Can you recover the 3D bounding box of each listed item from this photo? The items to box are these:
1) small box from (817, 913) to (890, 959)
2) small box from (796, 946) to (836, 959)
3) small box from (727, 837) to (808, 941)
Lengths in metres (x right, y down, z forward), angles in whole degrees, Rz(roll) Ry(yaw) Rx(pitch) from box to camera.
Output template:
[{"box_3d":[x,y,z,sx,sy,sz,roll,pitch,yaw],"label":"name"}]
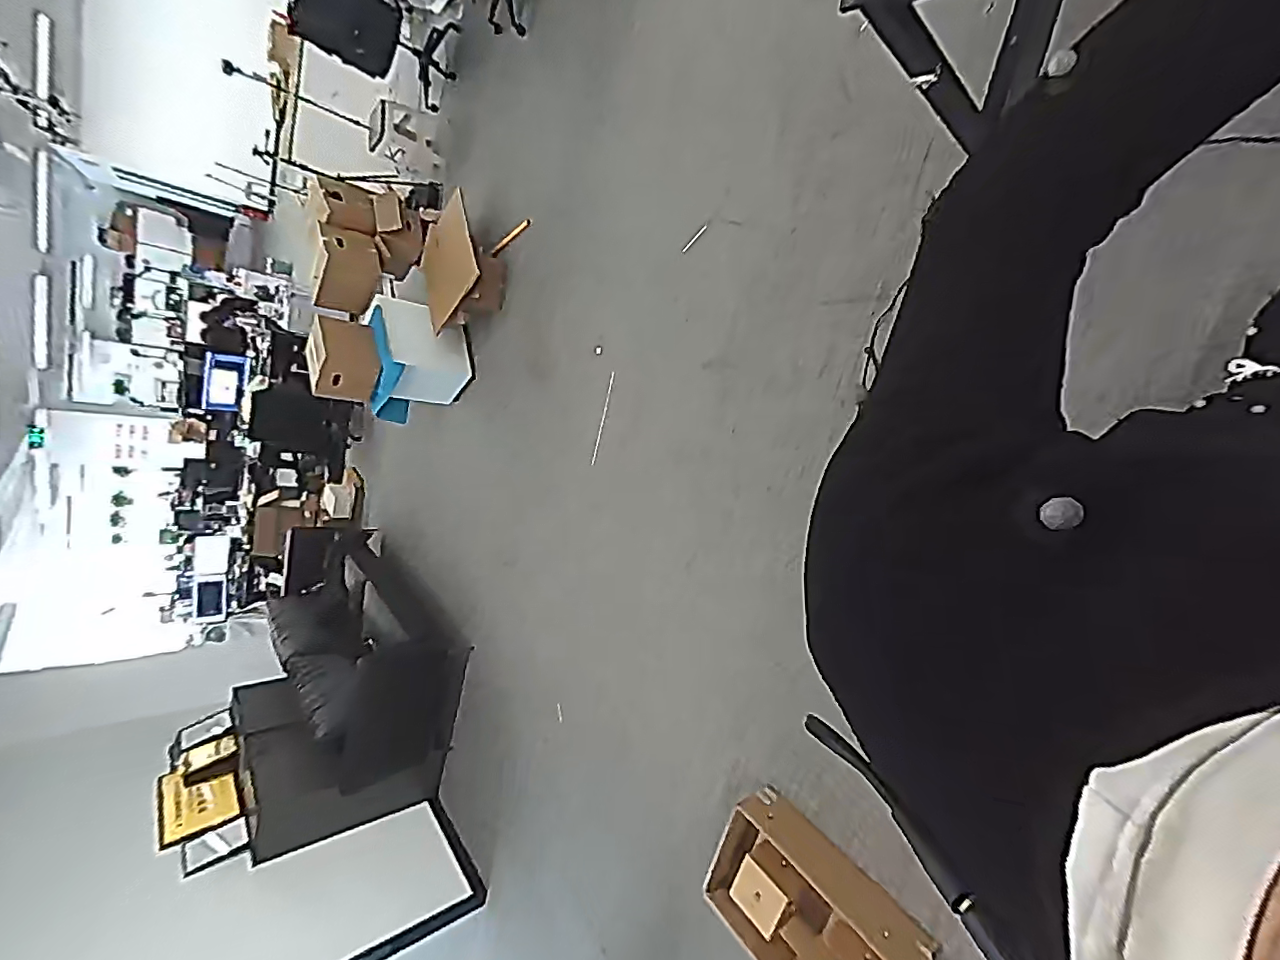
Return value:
[{"box_3d":[0.591,1.399,1.537,0.168,0.176,0.179,30,111,44],"label":"small box"},{"box_3d":[0.470,1.389,1.426,0.179,0.176,0.168,28,109,45],"label":"small box"},{"box_3d":[0.413,1.298,1.731,0.168,0.176,0.179,31,110,42],"label":"small box"}]
